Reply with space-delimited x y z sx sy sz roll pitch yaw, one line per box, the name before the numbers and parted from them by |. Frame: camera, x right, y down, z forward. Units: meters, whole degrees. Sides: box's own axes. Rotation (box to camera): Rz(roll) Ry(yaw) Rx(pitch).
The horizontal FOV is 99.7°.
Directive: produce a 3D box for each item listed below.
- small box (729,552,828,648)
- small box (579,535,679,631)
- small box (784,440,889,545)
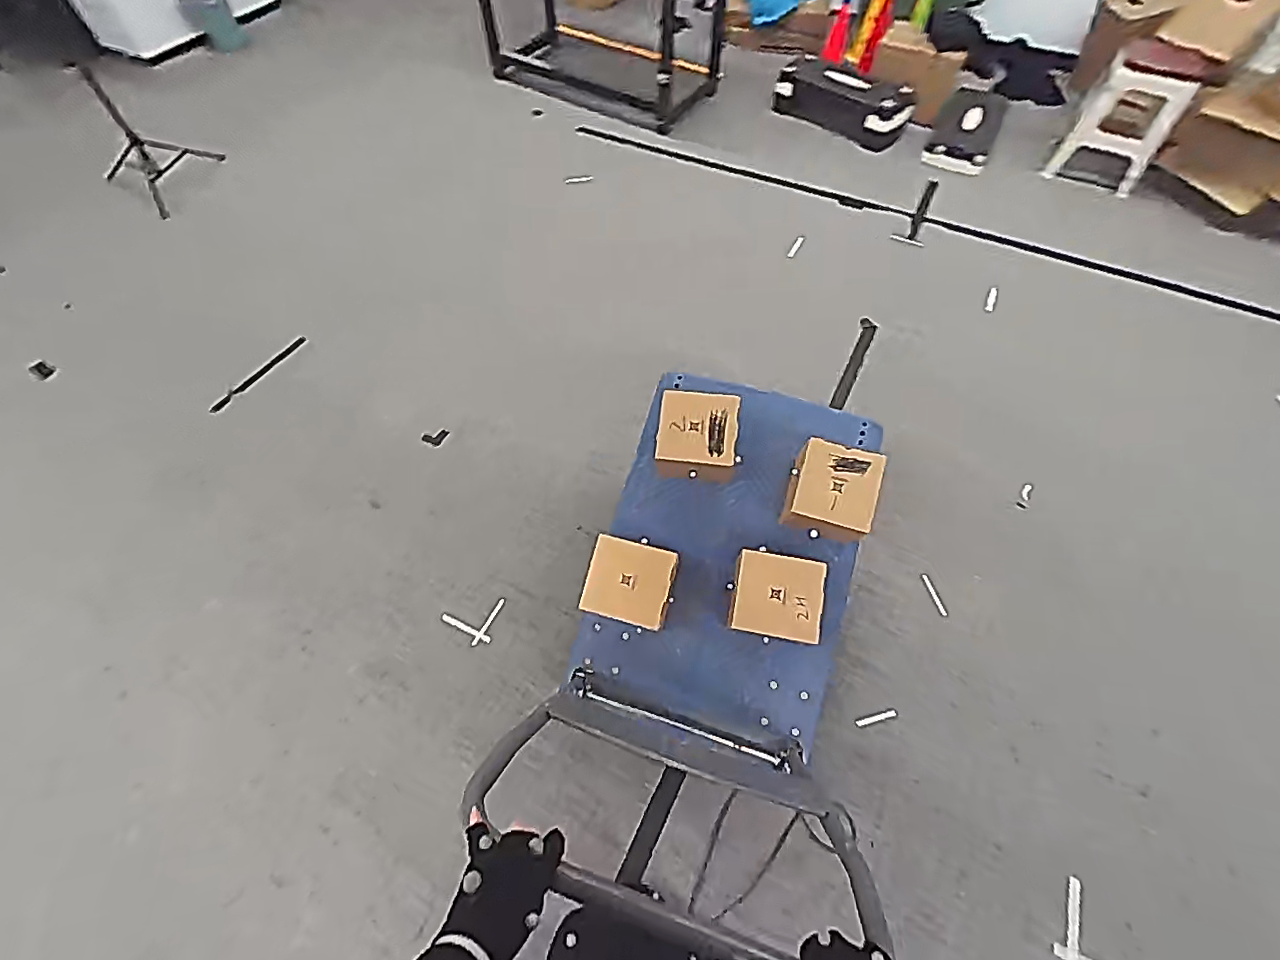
small box | 0.292 0.261 1.173 0.179 0.176 0.168 10 78 9
small box | -0.017 0.234 1.213 0.179 0.176 0.168 14 78 8
small box | 0.432 0.035 1.216 0.168 0.176 0.179 17 79 10
